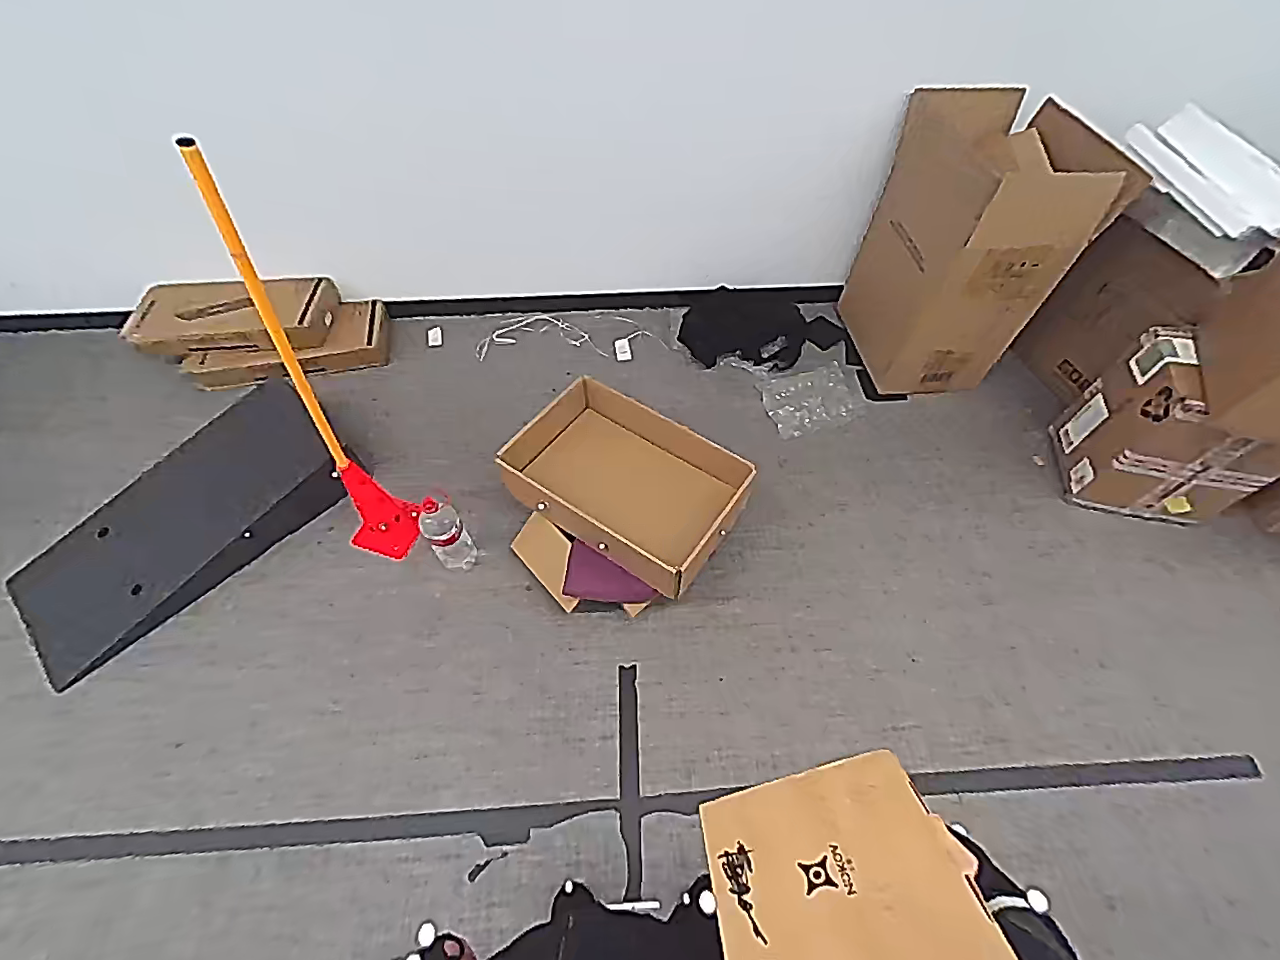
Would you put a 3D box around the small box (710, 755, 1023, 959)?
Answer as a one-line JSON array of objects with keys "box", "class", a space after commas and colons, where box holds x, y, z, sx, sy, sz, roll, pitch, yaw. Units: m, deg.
[{"box": [0.171, 0.364, 0.429, 0.179, 0.176, 0.168, -18, 19, 3], "class": "small box"}]
